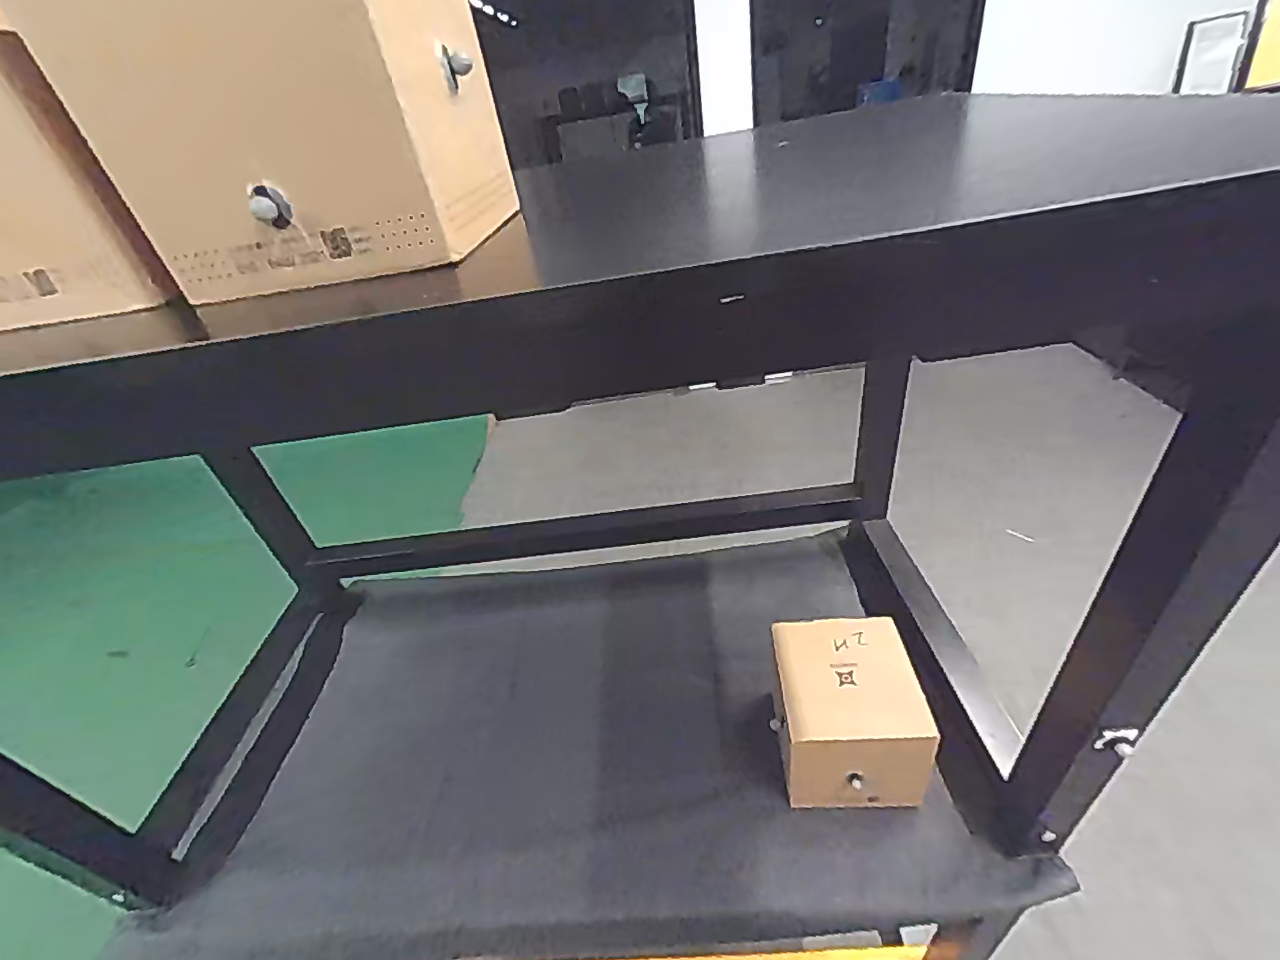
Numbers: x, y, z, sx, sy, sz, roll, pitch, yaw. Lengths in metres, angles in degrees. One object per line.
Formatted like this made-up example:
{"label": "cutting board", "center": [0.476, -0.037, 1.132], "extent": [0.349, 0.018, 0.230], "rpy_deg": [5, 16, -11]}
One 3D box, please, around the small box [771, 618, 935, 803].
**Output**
{"label": "small box", "center": [0.272, 0.313, 0.732], "extent": [0.168, 0.176, 0.179], "rpy_deg": [-5, 35, 8]}
